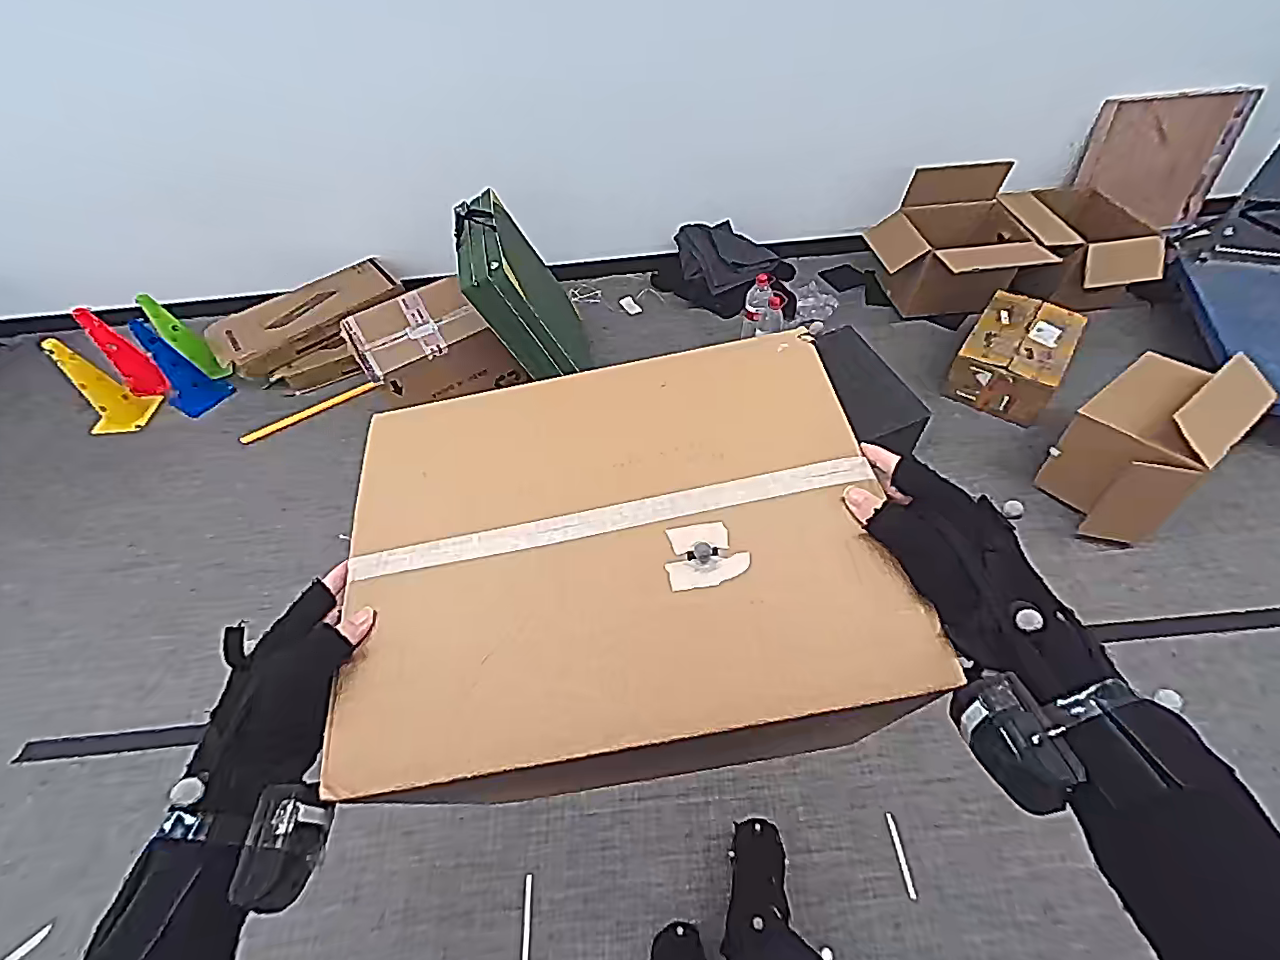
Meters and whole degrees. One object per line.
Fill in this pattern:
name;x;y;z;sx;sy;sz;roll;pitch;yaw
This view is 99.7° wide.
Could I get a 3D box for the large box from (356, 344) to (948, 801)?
large box;0.000;0.114;0.554;0.408;0.320;0.320;-11;58;1
